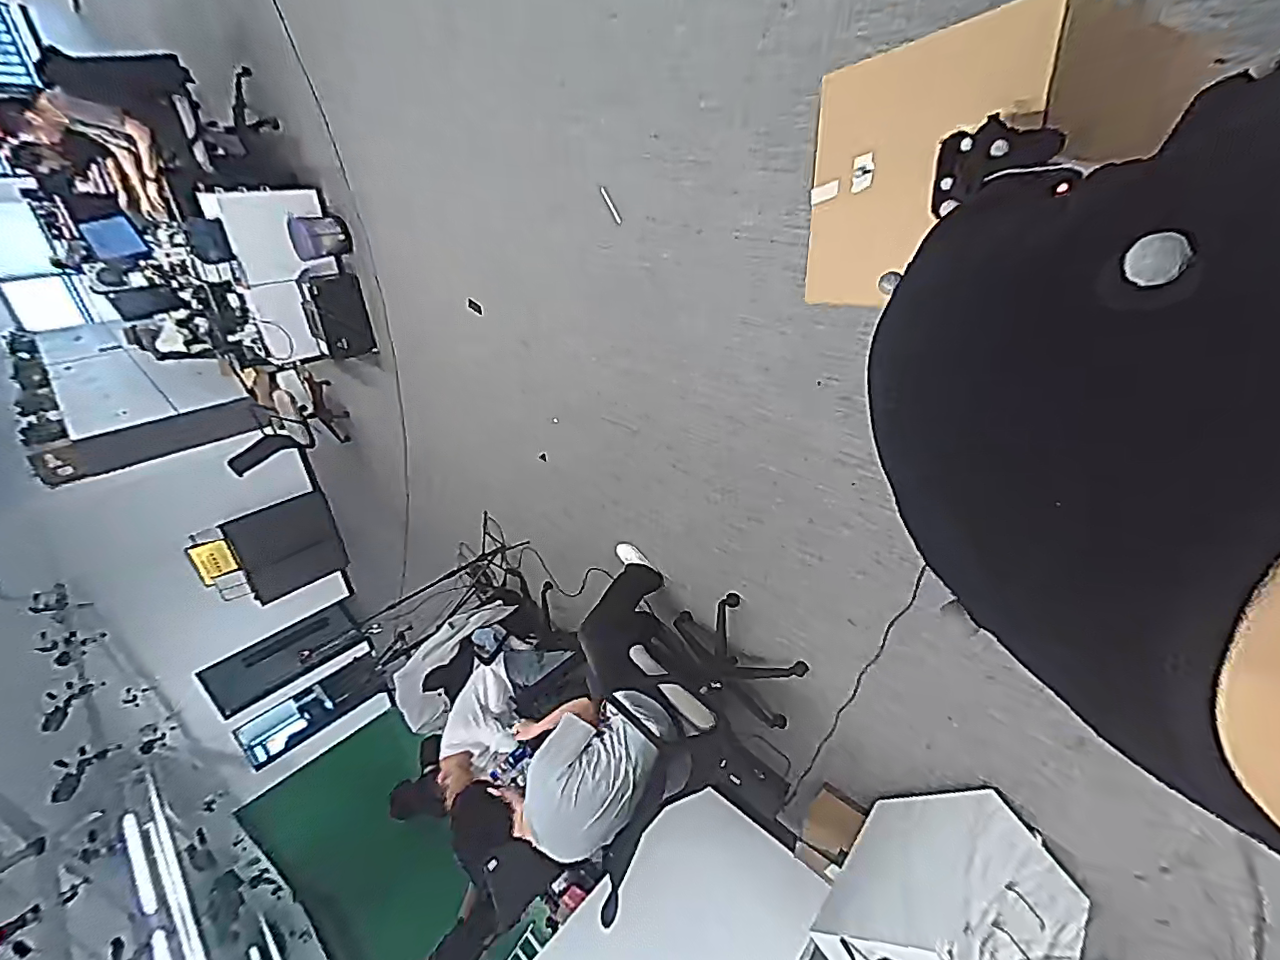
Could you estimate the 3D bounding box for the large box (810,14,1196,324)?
[{"bbox_3d":[0.514,-0.419,0.815,0.320,0.408,0.320,31,128,53],"label":"large box"}]
